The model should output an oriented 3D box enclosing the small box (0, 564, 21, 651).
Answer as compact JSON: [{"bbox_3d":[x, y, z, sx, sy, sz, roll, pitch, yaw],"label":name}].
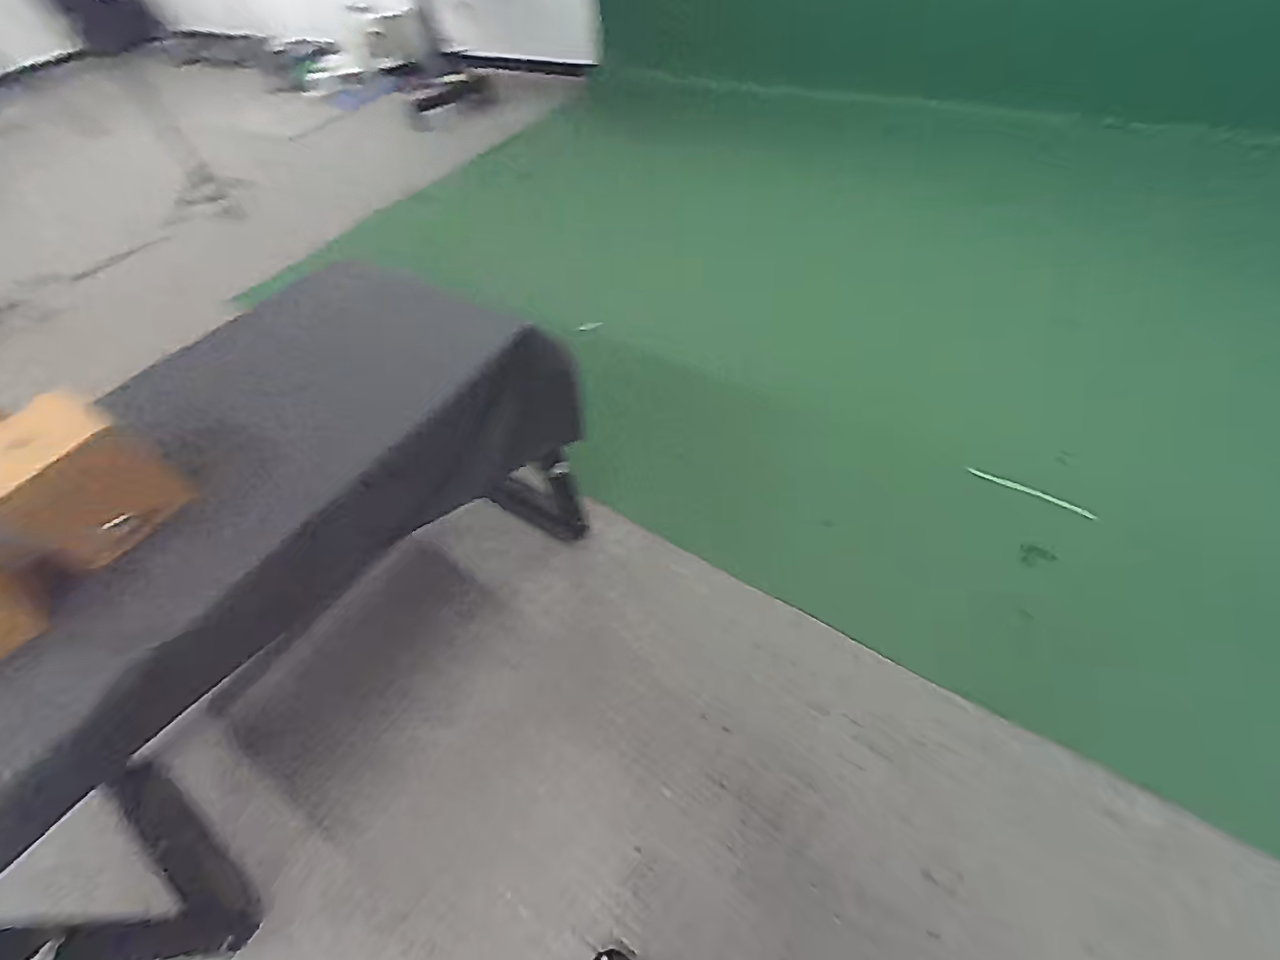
[{"bbox_3d":[-0.935,0.168,0.664,0.168,0.176,0.179,32,63,27],"label":"small box"}]

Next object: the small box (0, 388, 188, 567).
[{"bbox_3d":[-0.827,0.000,0.780,0.179,0.176,0.168,21,60,21],"label":"small box"}]
